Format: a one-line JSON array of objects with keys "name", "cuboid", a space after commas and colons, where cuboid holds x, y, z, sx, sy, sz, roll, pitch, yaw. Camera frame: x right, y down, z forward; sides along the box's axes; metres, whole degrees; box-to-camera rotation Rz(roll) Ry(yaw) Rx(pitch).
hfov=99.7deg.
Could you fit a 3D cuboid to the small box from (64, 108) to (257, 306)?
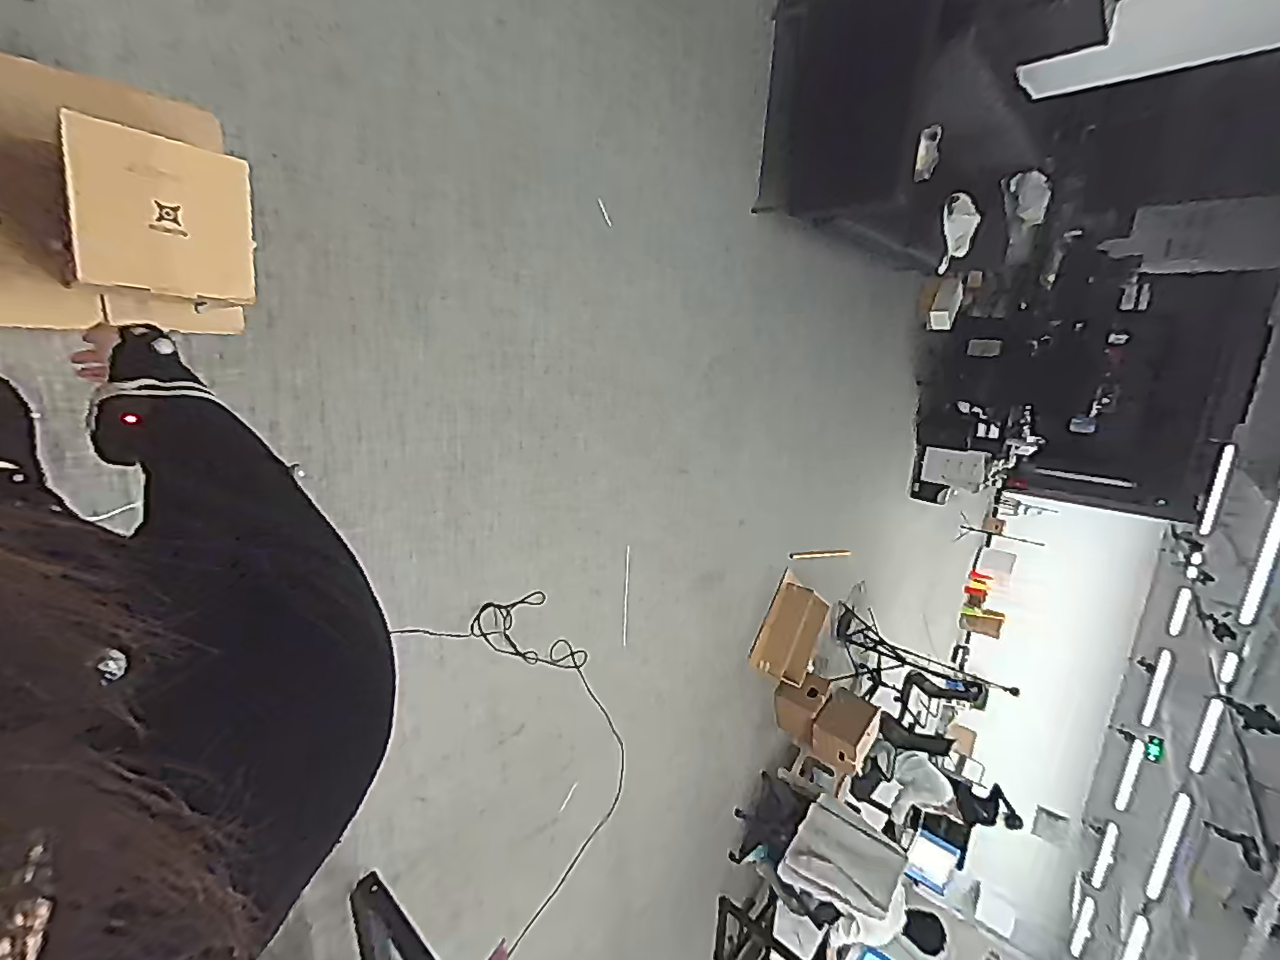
[{"name": "small box", "cuboid": [-0.606, -0.323, 0.687, 0.168, 0.176, 0.179, -6, 106, -47]}]
